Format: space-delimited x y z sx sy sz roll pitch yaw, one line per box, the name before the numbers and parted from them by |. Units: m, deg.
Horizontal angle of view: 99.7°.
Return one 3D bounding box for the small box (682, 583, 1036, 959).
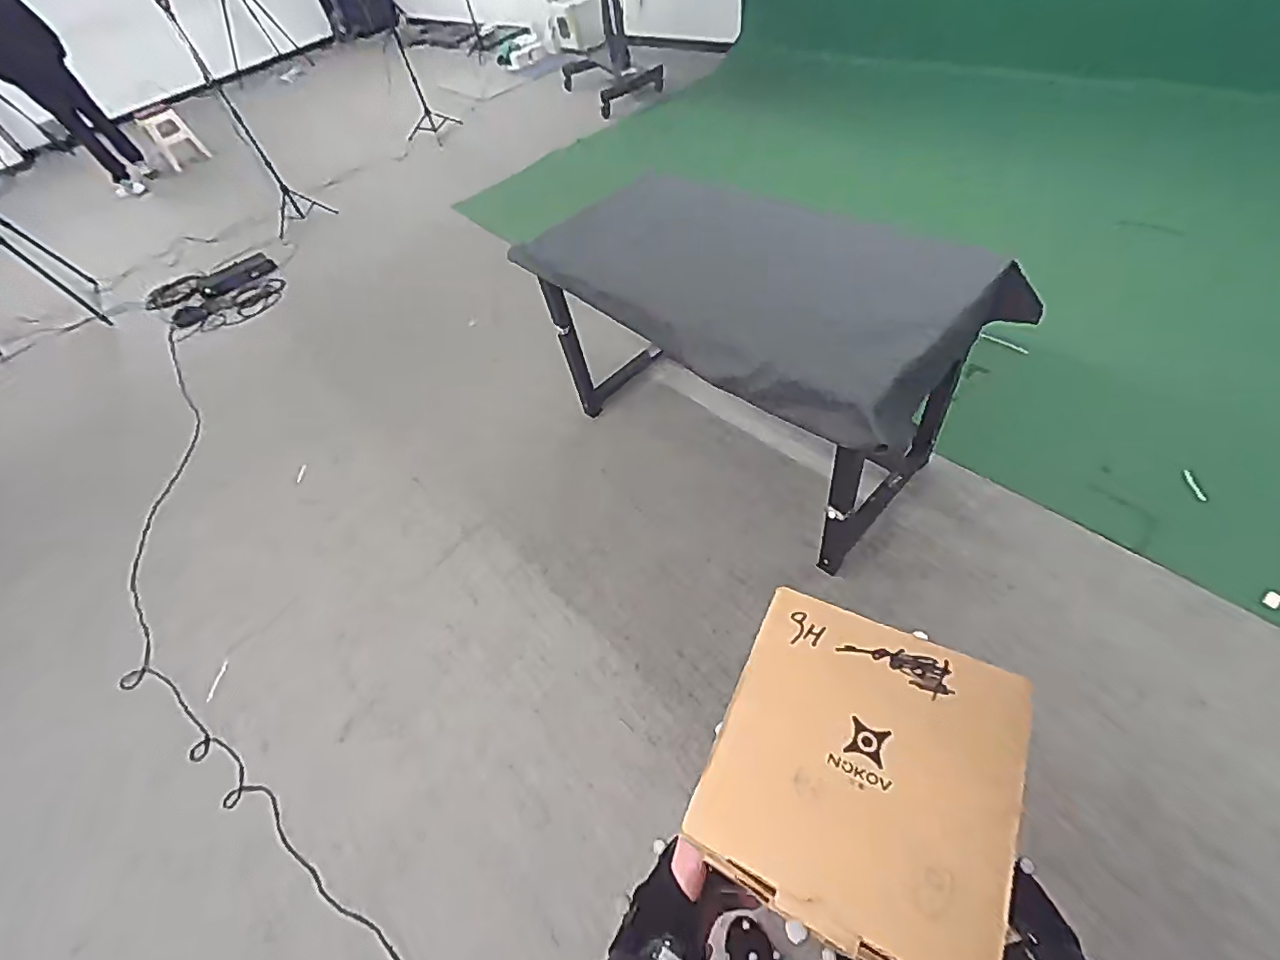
small box | 0.148 0.211 0.391 0.168 0.176 0.179 19 60 23
